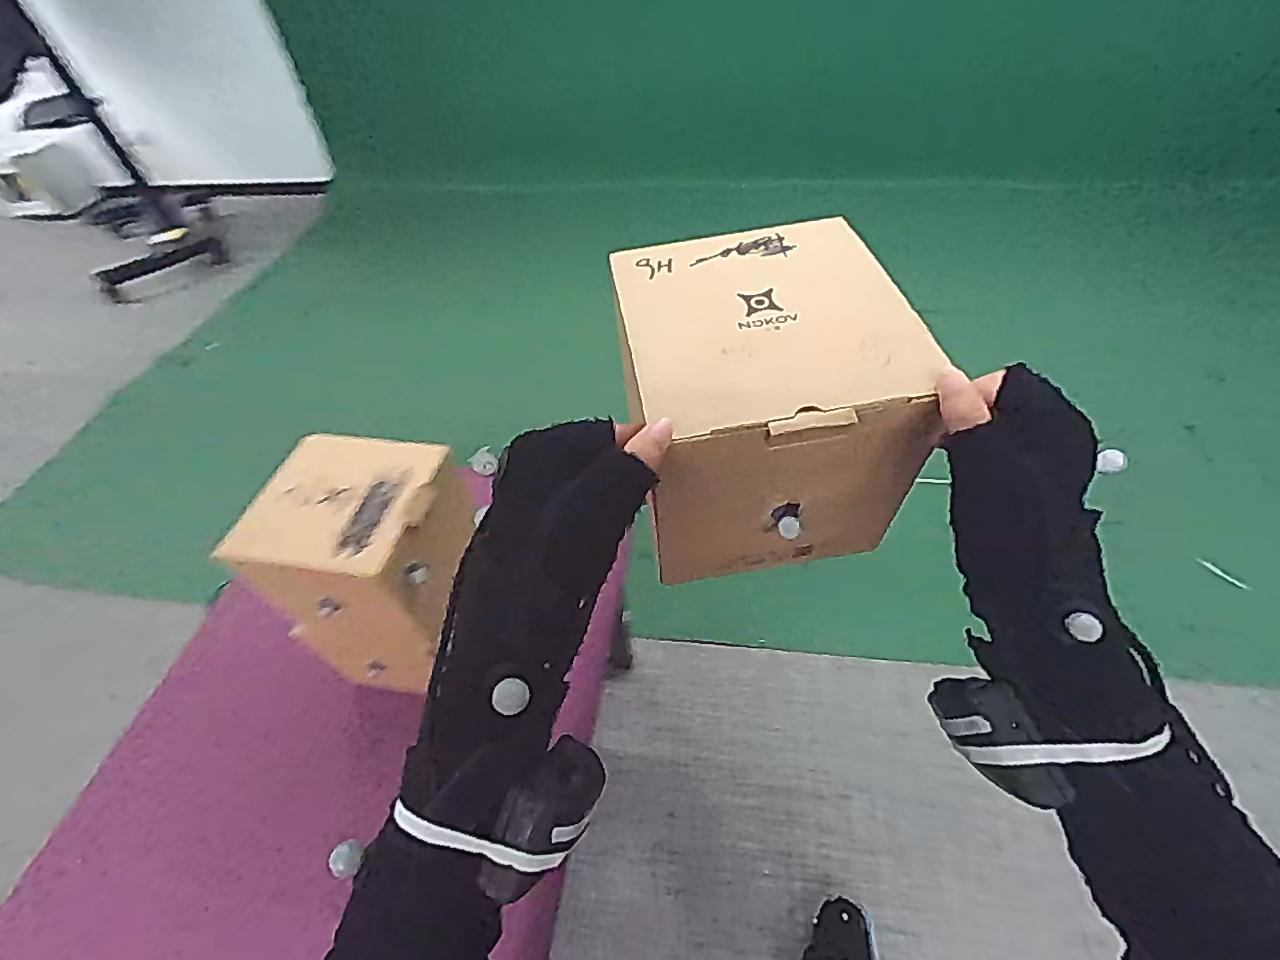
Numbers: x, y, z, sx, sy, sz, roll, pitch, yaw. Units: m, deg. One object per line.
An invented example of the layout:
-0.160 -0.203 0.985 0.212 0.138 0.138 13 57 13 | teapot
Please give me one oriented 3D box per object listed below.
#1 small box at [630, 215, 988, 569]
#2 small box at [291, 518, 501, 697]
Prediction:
0.090 -0.050 0.378 0.168 0.176 0.179 -8 55 -1 | small box
-0.309 0.177 0.734 0.179 0.176 0.168 7 49 10 | small box
